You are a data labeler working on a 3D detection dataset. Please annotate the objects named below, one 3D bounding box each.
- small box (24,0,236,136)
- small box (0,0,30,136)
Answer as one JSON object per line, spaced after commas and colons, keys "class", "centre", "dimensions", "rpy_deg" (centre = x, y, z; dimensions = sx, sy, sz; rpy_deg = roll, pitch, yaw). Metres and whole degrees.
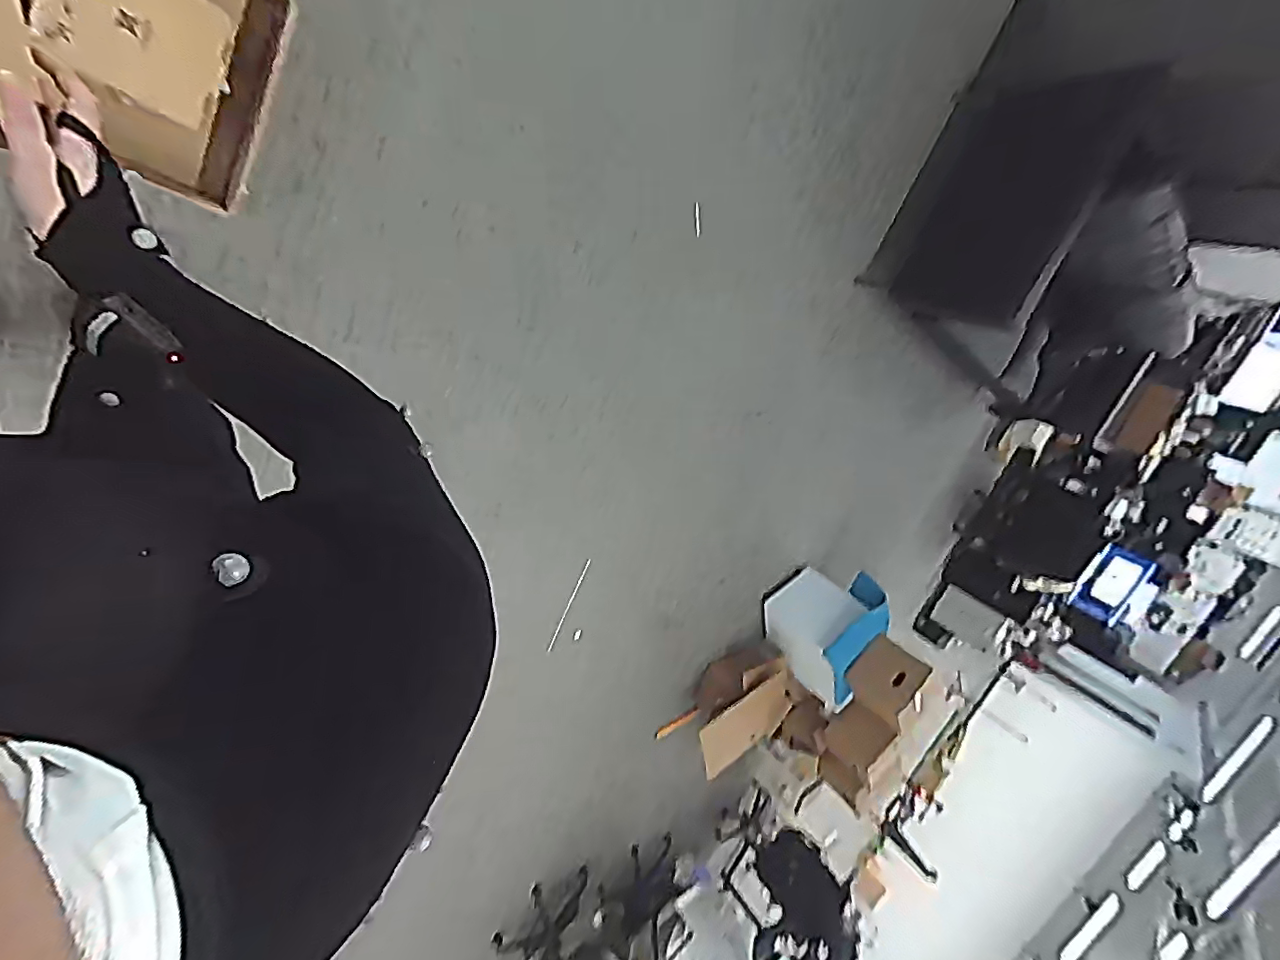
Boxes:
{"class": "small box", "centre": [-0.709, -0.628, 0.767], "dimensions": [0.179, 0.176, 0.168], "rpy_deg": [19, 104, -45]}
{"class": "small box", "centre": [-0.559, -0.354, 0.361], "dimensions": [0.179, 0.176, 0.168], "rpy_deg": [-15, 110, -46]}
